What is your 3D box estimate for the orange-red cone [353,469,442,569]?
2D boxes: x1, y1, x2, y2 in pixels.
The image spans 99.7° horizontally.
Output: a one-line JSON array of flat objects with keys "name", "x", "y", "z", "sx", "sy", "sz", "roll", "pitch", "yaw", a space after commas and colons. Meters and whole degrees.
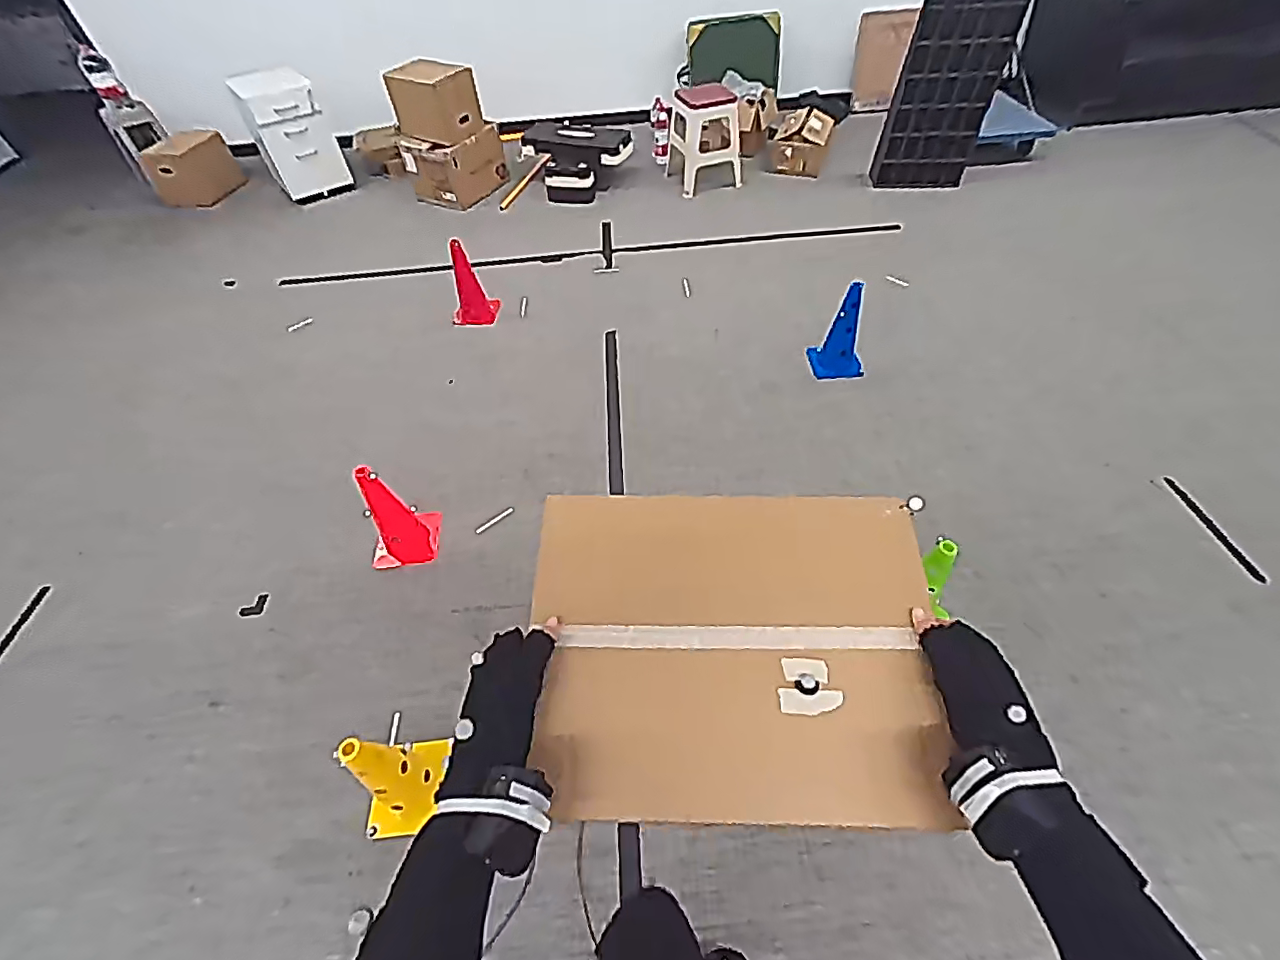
[{"name": "orange-red cone", "x": -0.772, "y": 0.094, "z": 1.652, "sx": 0.198, "sy": 0.360, "sz": 0.199, "roll": -8, "pitch": 52, "yaw": -1}]

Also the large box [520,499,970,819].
[{"name": "large box", "x": 0.093, "y": 0.229, "z": 0.672, "sx": 0.408, "sy": 0.320, "sz": 0.320, "roll": 0, "pitch": 62, "yaw": 2}]

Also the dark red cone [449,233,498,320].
[{"name": "dark red cone", "x": -0.795, "y": -0.924, "z": 2.461, "sx": 0.201, "sy": 0.394, "sz": 0.202, "roll": 0, "pitch": 51, "yaw": 3}]

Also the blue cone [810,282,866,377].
[{"name": "blue cone", "x": 0.809, "y": -0.598, "z": 2.126, "sx": 0.192, "sy": 0.380, "sz": 0.193, "roll": -2, "pitch": 51, "yaw": 1}]
